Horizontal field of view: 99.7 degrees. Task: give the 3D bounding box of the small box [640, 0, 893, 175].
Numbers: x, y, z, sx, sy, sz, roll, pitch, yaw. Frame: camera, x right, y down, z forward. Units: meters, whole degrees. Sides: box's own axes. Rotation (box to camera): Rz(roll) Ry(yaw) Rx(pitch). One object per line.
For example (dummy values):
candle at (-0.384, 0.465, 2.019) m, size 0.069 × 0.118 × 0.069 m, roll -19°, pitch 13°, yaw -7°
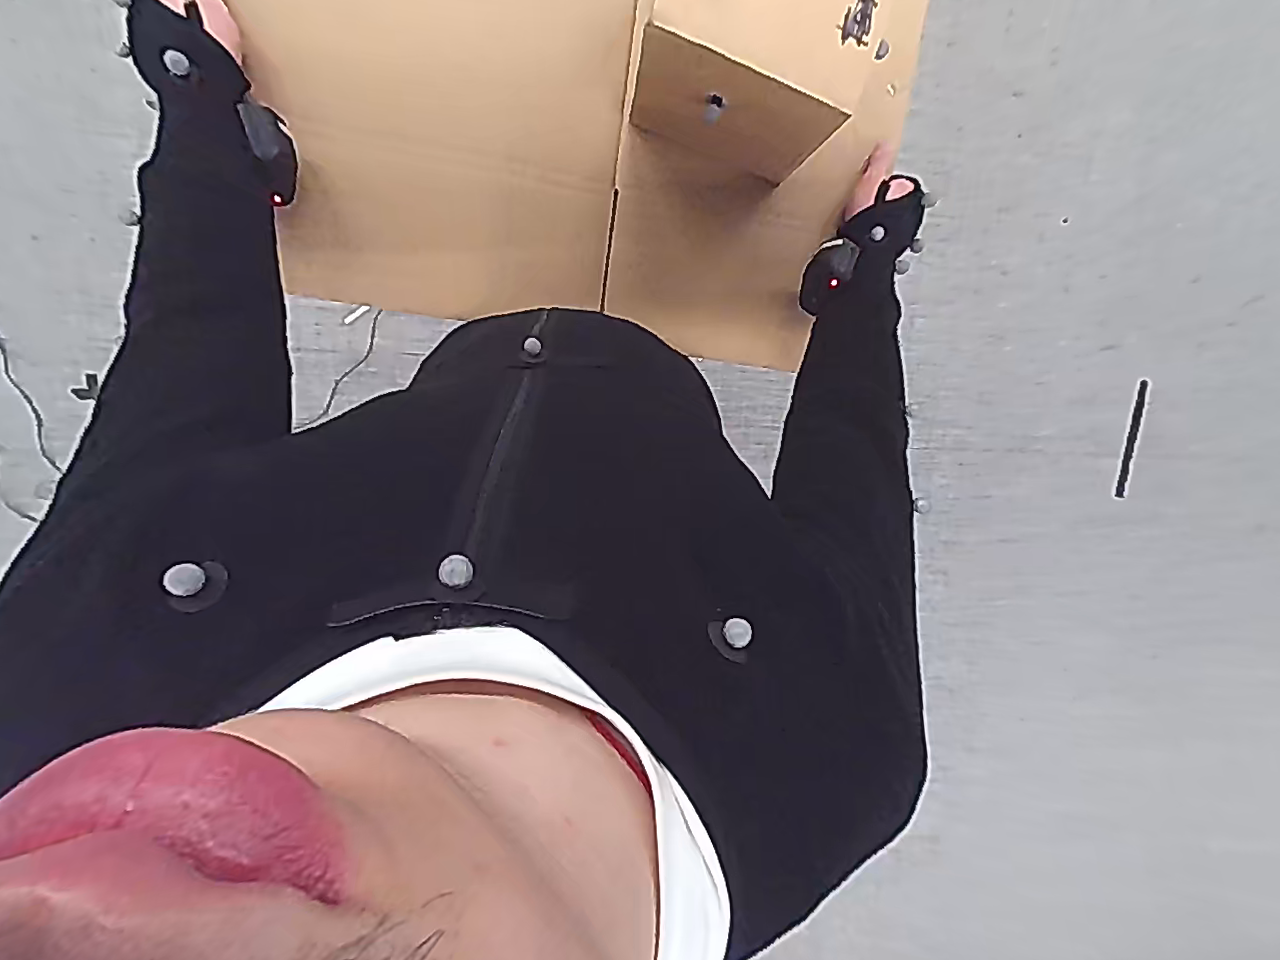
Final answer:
small box at (0.107, -0.408, 0.486) m, size 0.179 × 0.176 × 0.168 m, roll 17°, pitch 100°, yaw -8°
